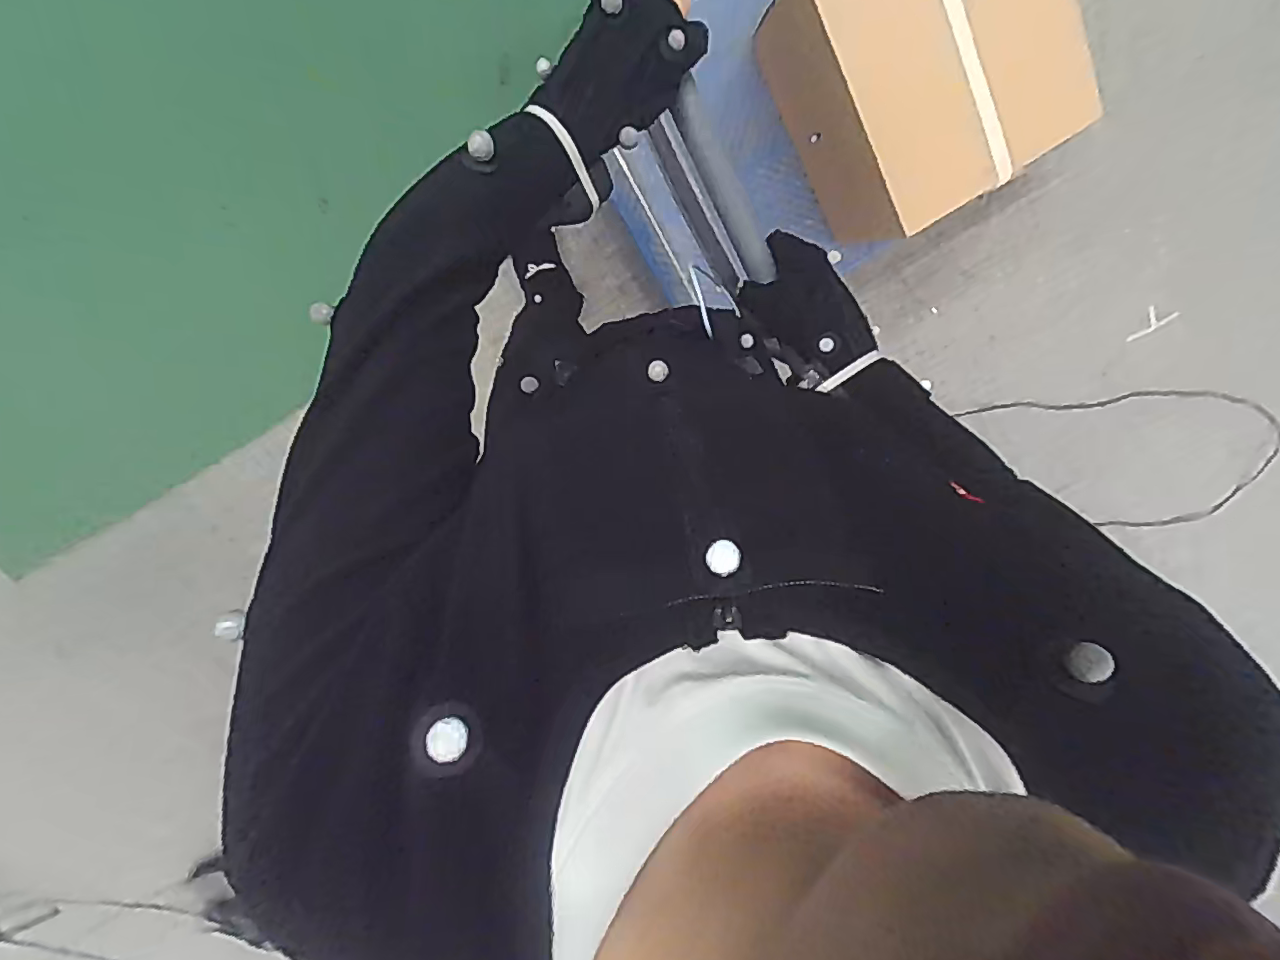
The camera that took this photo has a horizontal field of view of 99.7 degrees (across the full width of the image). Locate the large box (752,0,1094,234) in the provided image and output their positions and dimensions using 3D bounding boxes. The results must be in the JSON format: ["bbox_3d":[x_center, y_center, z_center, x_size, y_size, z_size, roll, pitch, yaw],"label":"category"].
[{"bbox_3d":[0.438,-0.684,0.902,0.320,0.320,0.408,-31,110,10],"label":"large box"}]
